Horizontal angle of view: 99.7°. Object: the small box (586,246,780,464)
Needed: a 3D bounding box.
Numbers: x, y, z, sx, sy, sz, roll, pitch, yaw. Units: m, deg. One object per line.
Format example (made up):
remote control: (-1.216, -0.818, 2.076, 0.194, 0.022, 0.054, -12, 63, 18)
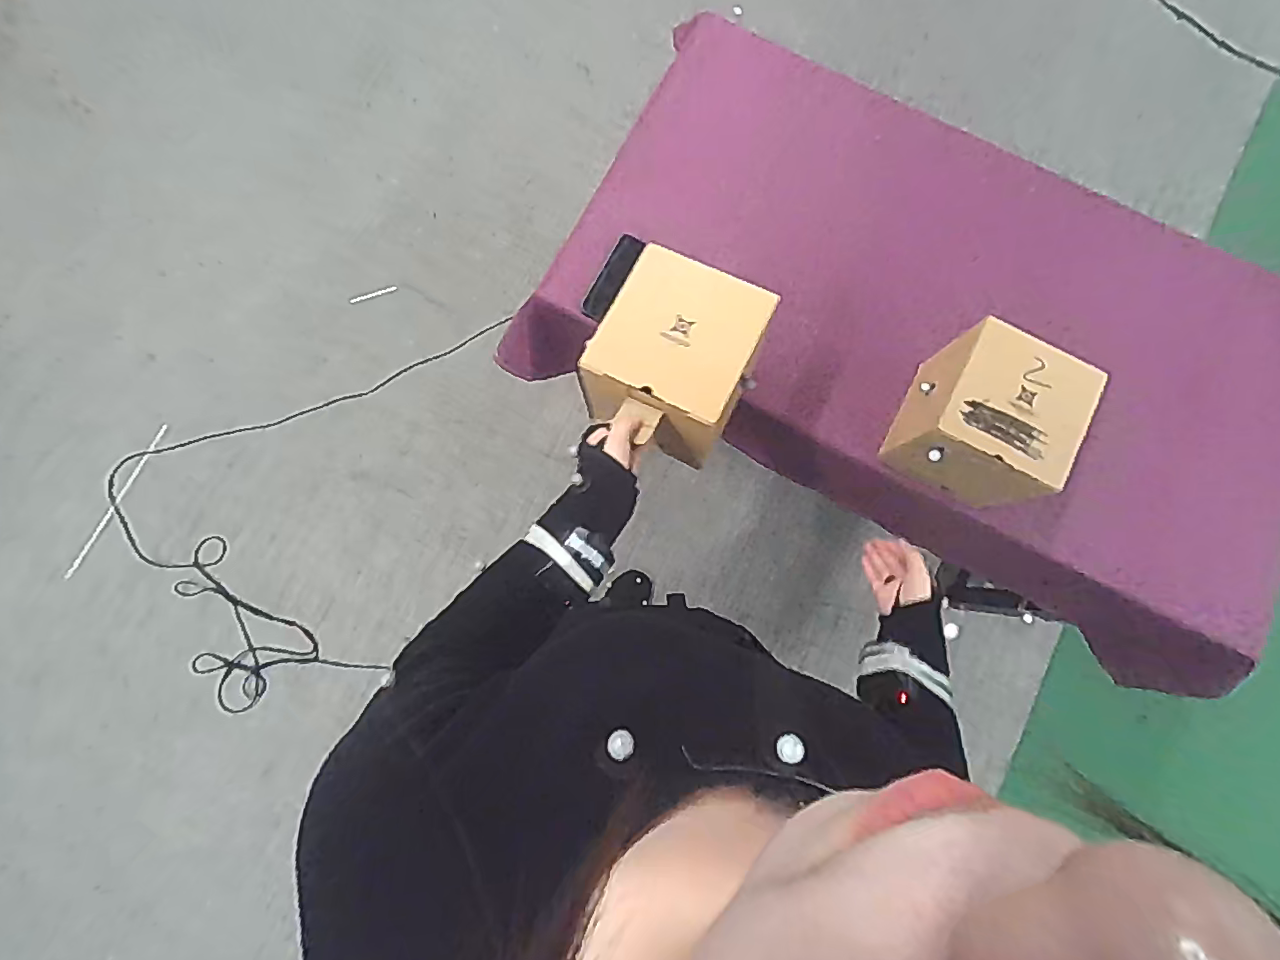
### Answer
small box: (0.051, -0.146, 0.682, 0.168, 0.176, 0.179, 27, 78, 8)
